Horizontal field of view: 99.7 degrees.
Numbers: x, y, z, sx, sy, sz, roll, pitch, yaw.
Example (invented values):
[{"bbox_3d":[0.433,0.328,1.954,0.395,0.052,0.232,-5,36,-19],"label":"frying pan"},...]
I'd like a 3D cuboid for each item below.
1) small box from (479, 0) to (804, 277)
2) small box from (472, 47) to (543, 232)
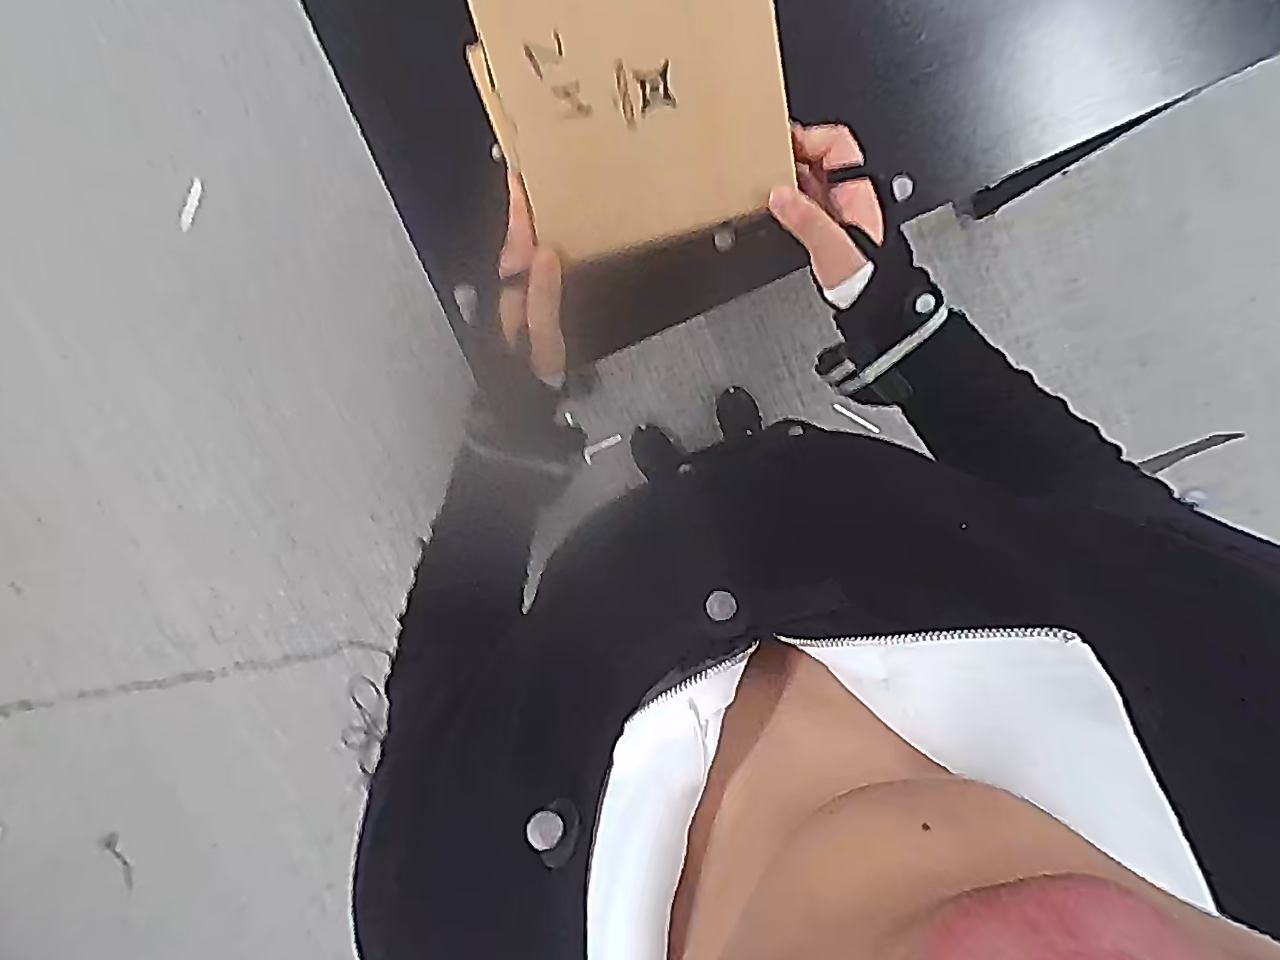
[{"bbox_3d":[0.003,-0.260,0.408,0.179,0.176,0.168,-14,110,3],"label":"small box"},{"bbox_3d":[-0.066,-0.390,0.634,0.168,0.176,0.179,-21,97,5],"label":"small box"}]
